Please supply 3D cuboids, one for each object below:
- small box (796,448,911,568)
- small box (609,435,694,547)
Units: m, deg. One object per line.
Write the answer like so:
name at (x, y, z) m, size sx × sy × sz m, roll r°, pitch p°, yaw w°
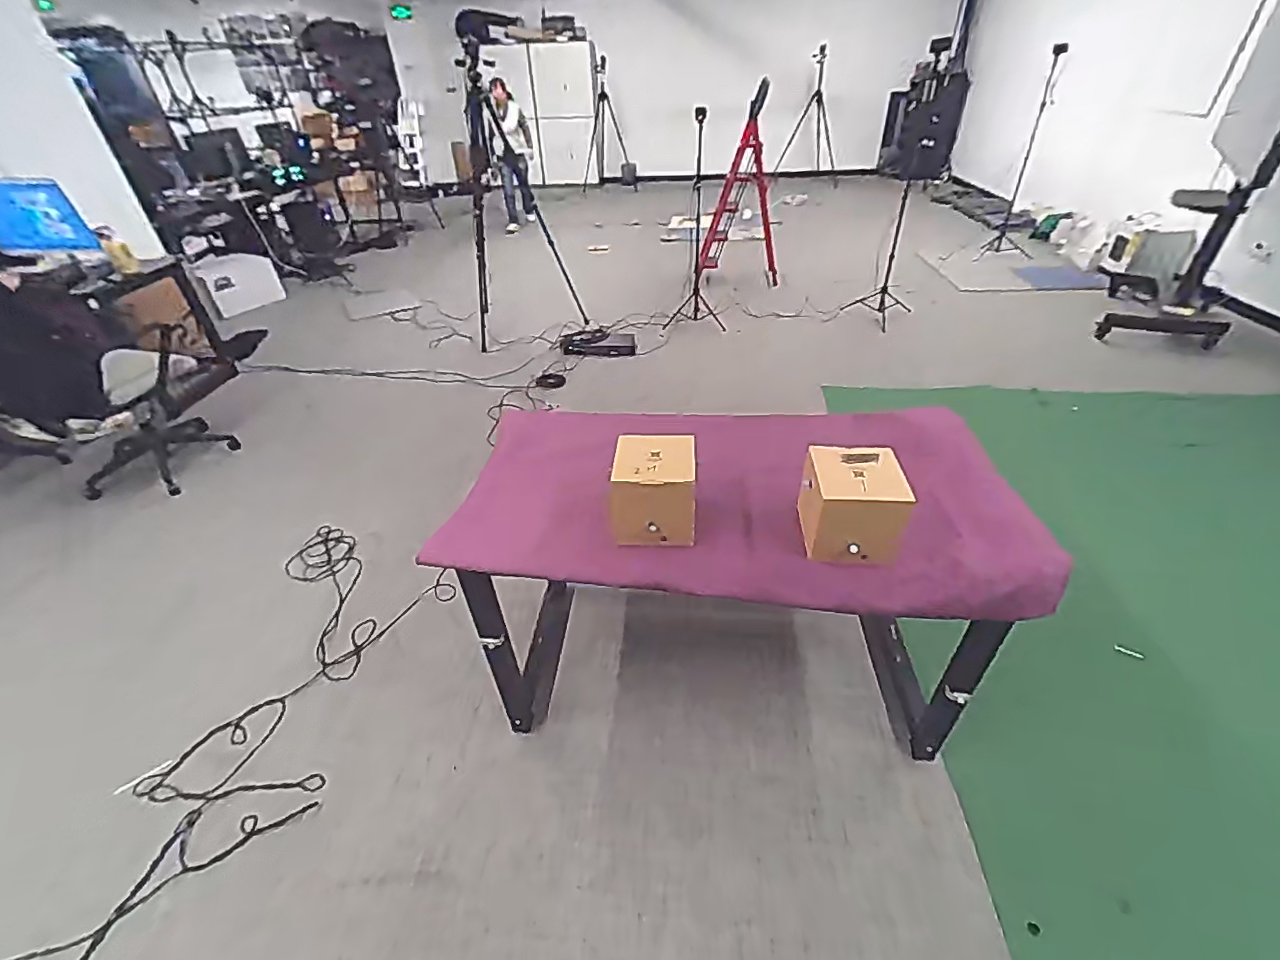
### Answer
small box at (0.418, 0.053, 1.092) m, size 0.168 × 0.176 × 0.179 m, roll 2°, pitch 38°, yaw 6°
small box at (0.029, 0.021, 1.150) m, size 0.168 × 0.176 × 0.179 m, roll 1°, pitch 36°, yaw 4°
